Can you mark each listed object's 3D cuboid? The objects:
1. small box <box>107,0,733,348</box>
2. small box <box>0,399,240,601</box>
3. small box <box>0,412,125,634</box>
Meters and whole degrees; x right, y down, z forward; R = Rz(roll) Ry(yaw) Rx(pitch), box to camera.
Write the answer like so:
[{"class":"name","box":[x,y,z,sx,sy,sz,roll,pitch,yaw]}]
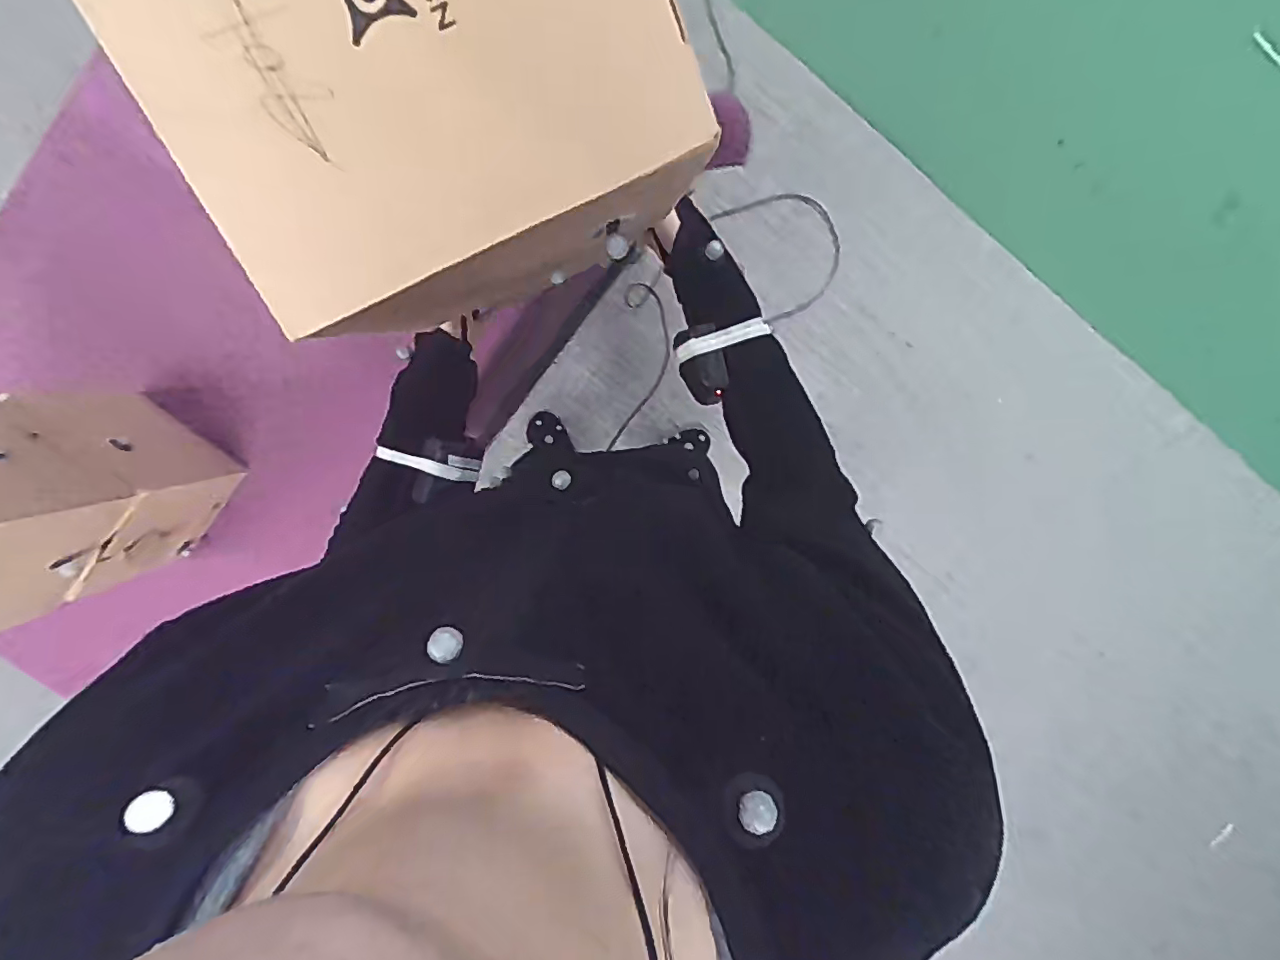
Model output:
[{"class":"small box","box":[-0.081,-0.176,0.253,0.179,0.176,0.168,-23,107,3]},{"class":"small box","box":[-0.662,0.013,0.675,0.179,0.176,0.168,38,95,-6]},{"class":"small box","box":[-0.663,0.047,0.514,0.168,0.176,0.179,39,95,-6]}]
